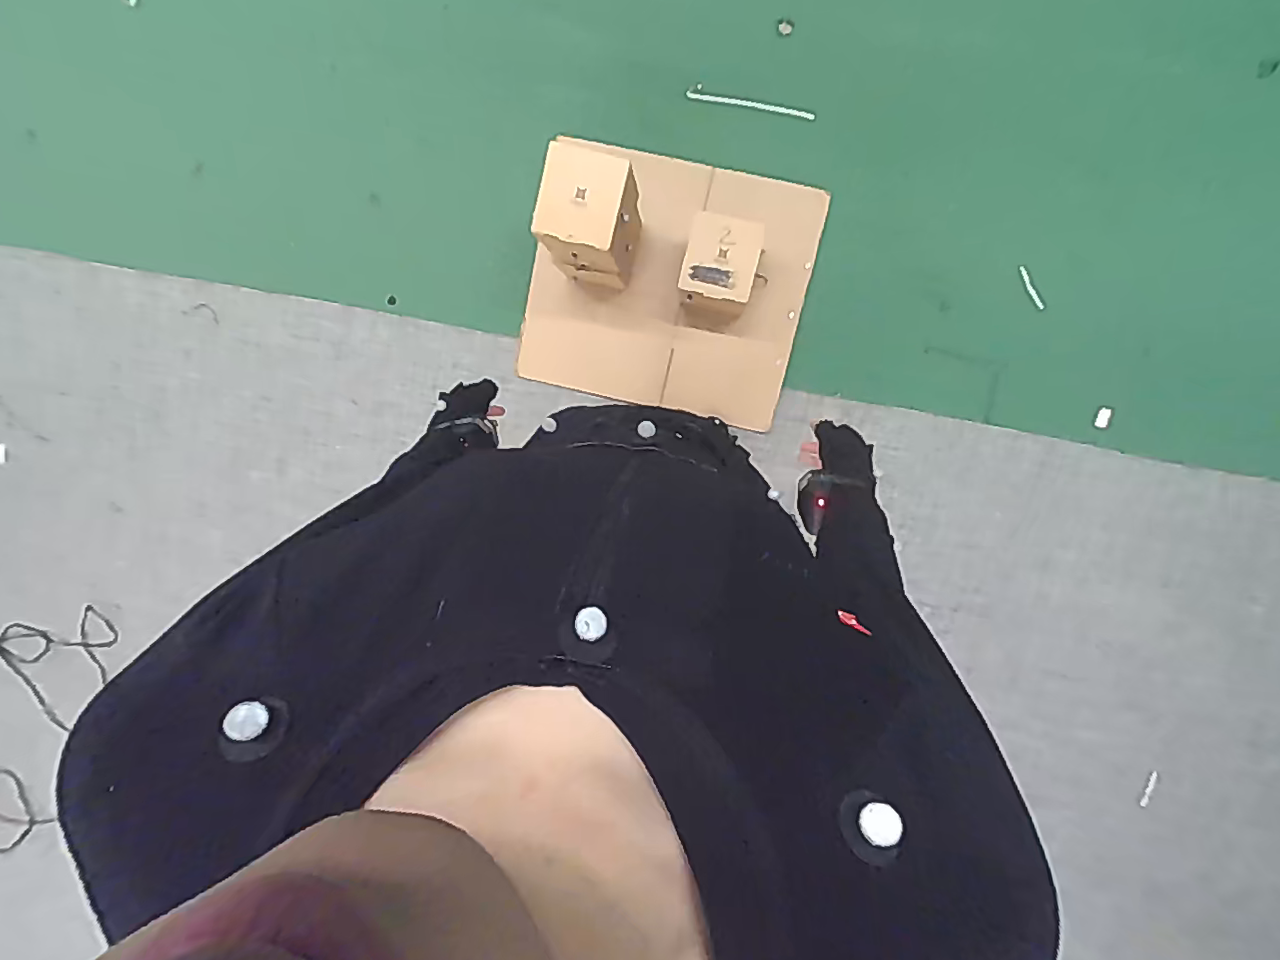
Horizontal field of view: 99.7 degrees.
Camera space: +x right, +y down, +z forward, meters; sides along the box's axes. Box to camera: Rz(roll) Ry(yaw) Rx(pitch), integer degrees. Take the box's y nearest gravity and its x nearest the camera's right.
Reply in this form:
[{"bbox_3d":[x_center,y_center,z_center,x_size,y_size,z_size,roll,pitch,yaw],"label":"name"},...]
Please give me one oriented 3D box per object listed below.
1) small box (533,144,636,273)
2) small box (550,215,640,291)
[{"bbox_3d":[-0.108,-0.561,1.138,0.168,0.176,0.179,16,99,3],"label":"small box"},{"bbox_3d":[-0.102,-0.571,1.300,0.168,0.176,0.179,15,98,4],"label":"small box"}]
